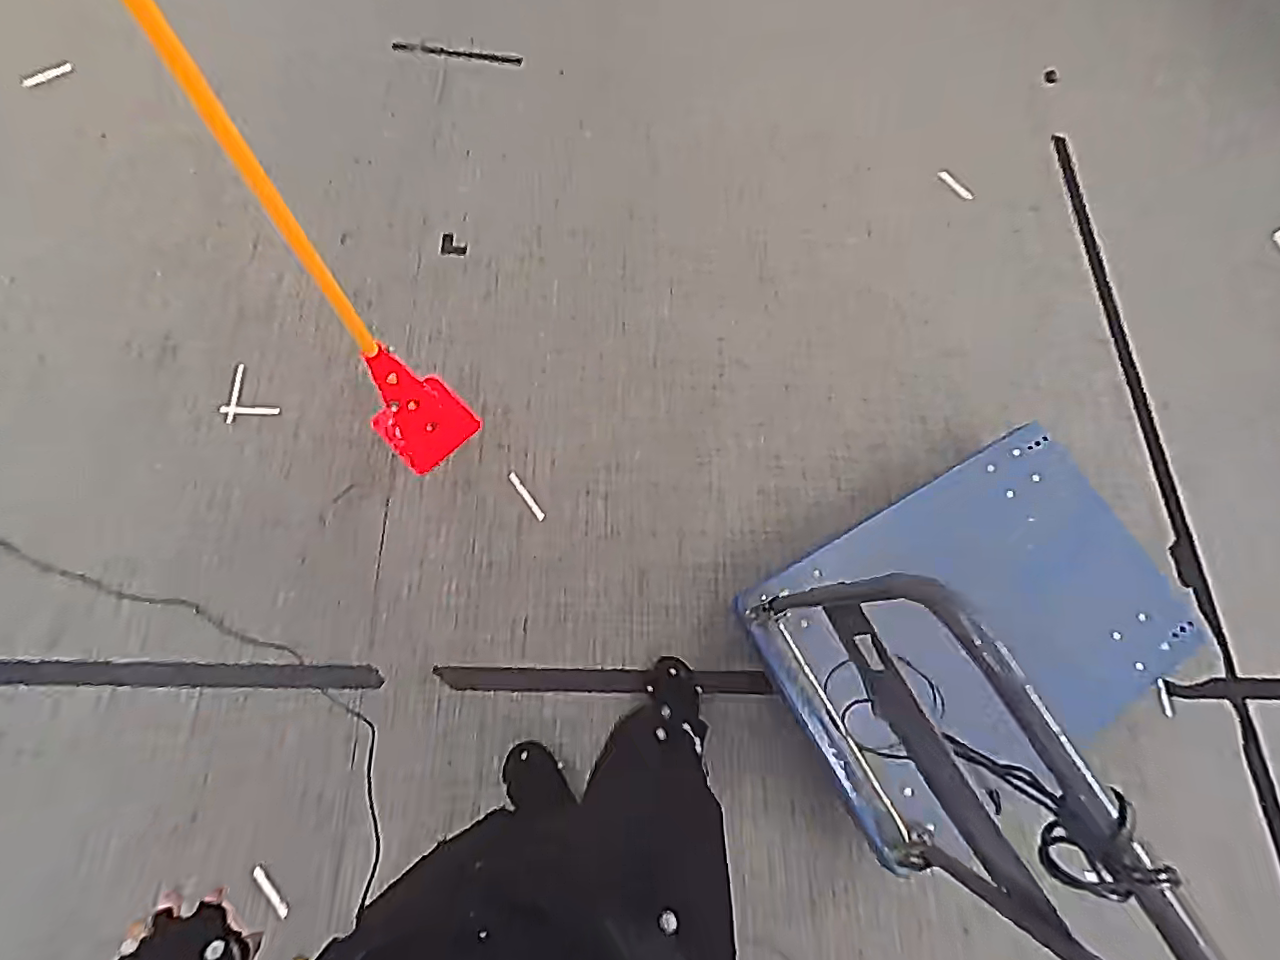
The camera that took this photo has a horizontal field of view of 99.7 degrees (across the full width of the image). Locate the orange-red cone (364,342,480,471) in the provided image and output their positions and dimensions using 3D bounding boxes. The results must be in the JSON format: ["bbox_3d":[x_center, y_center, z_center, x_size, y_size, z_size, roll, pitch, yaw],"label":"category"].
[{"bbox_3d":[-0.502,-0.189,1.157,0.198,0.360,0.199,-42,82,-15],"label":"orange-red cone"}]
